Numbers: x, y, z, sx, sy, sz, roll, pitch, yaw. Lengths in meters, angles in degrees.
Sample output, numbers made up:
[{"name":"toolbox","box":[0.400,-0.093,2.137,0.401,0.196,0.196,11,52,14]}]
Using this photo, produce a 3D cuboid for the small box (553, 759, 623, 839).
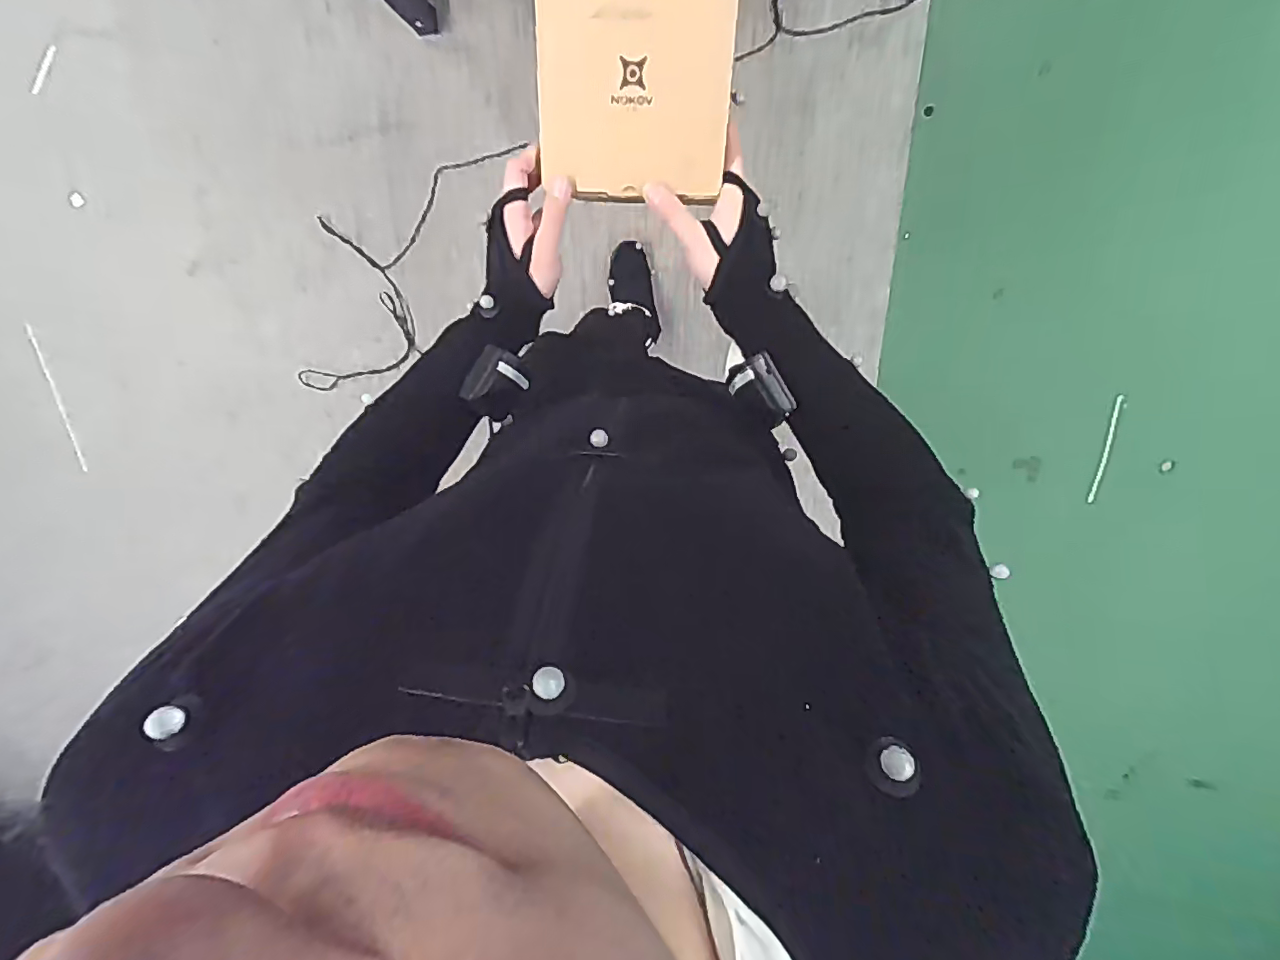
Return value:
[{"name":"small box","box":[-0.137,0.895,1.464,0.168,0.176,0.179,3,111,3]}]
